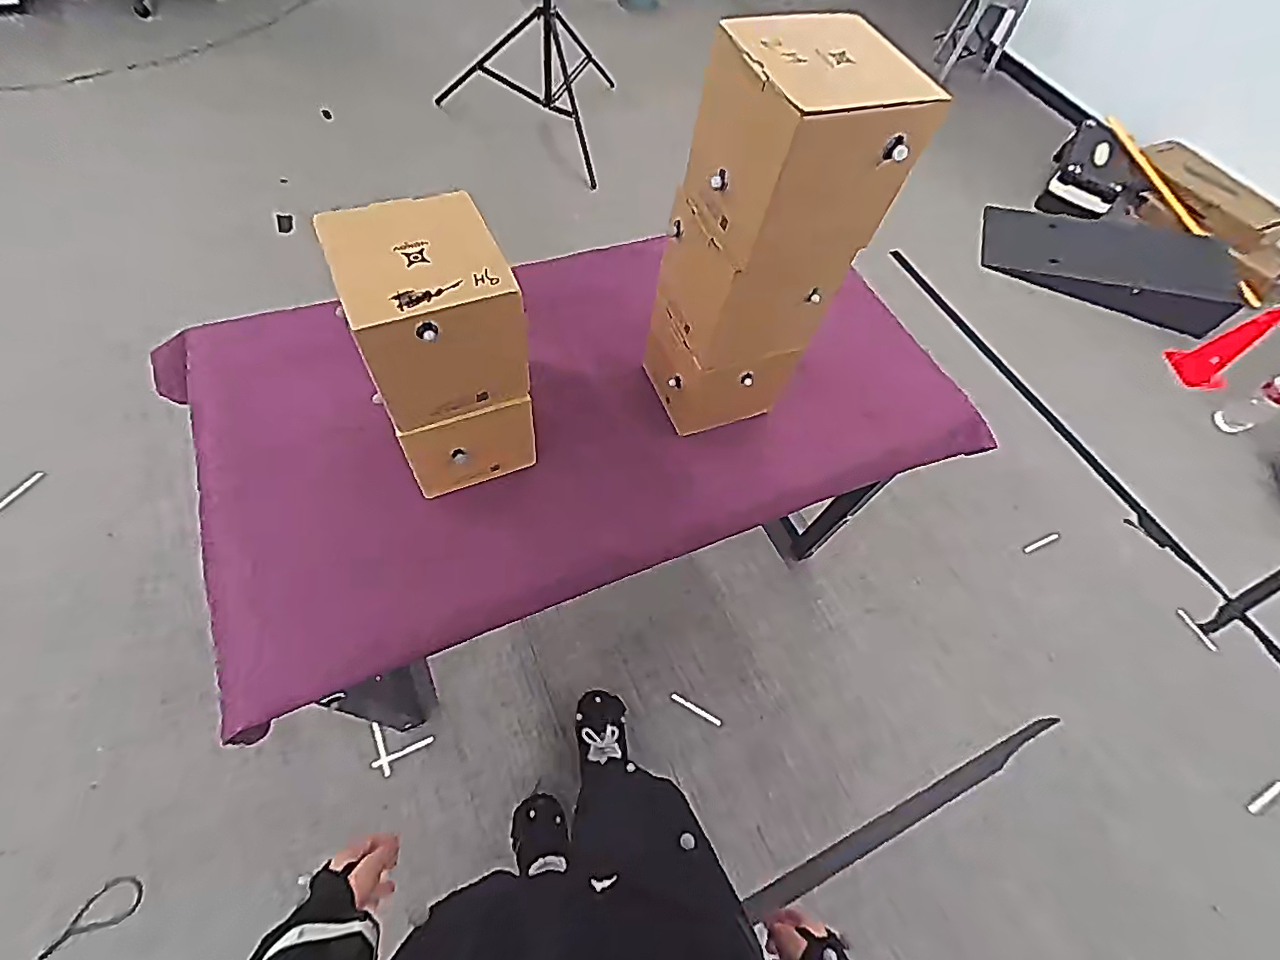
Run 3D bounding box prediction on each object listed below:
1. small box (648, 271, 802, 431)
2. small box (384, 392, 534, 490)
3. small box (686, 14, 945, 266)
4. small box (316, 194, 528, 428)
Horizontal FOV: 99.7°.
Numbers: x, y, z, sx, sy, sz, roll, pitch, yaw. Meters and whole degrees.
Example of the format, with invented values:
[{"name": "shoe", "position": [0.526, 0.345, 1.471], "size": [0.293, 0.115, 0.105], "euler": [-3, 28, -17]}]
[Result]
[{"name": "small box", "position": [0.121, -0.202, 0.870], "size": [0.179, 0.176, 0.168], "euler": [-17, 65, -17]}, {"name": "small box", "position": [-0.257, -0.105, 0.763], "size": [0.168, 0.176, 0.179], "euler": [-20, 65, -18]}, {"name": "small box", "position": [0.170, -0.363, 0.586], "size": [0.179, 0.176, 0.168], "euler": [-18, 64, -17]}, {"name": "small box", "position": [-0.240, -0.192, 0.625], "size": [0.168, 0.176, 0.179], "euler": [-22, 64, -18]}]
